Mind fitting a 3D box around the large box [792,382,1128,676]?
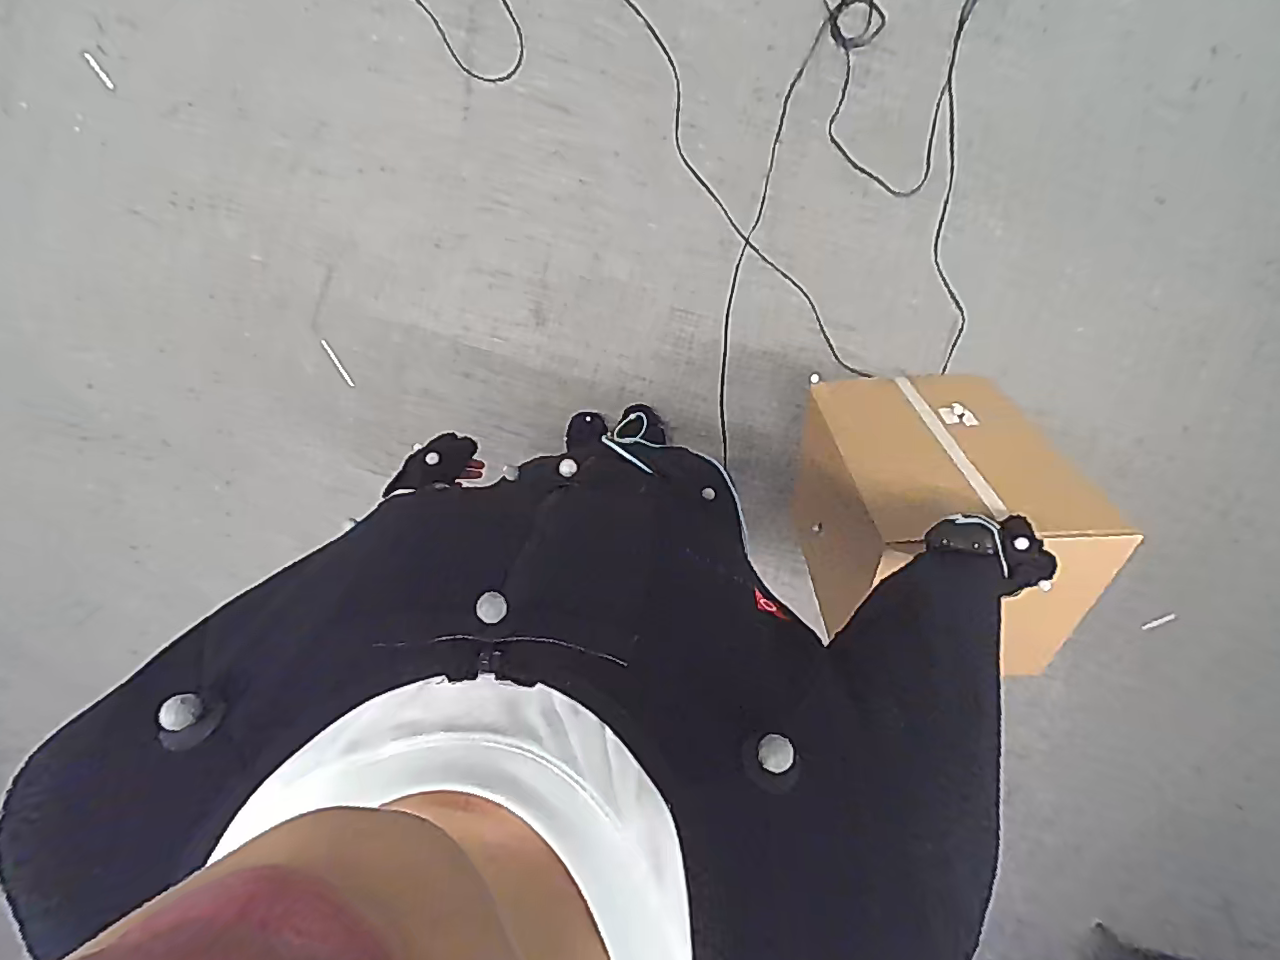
[{"bbox_3d":[0.468,0.070,0.921,0.320,0.408,0.320,-1,129,2],"label":"large box"}]
